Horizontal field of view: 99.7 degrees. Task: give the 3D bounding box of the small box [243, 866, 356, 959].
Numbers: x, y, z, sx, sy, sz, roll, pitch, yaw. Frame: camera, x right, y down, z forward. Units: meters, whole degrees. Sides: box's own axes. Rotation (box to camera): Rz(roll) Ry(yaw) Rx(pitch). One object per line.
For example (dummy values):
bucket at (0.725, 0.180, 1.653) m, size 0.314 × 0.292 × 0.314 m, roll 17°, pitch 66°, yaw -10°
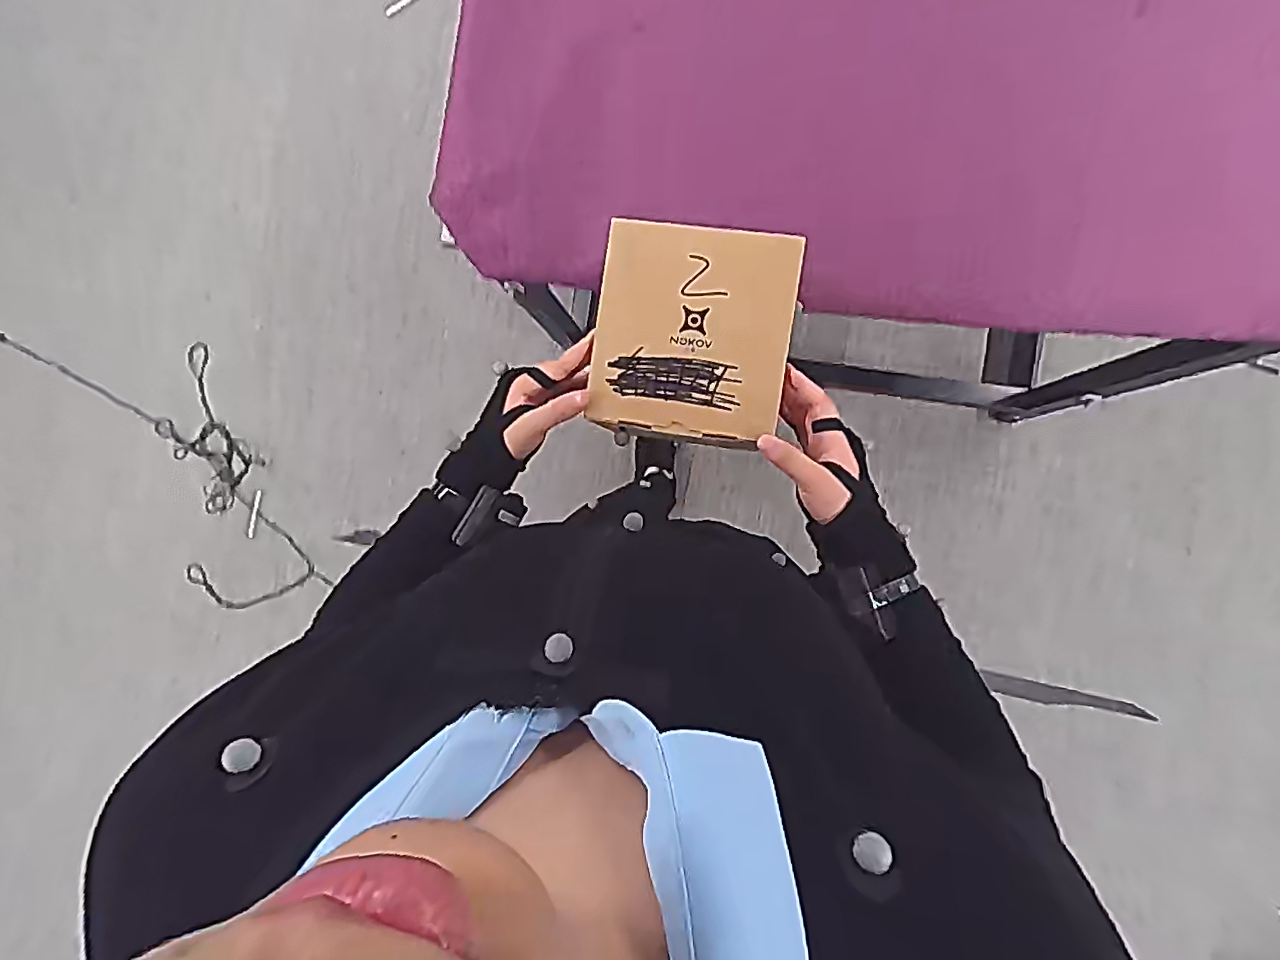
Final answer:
small box at (-0.918, 1.208, 1.476) m, size 0.179 × 0.176 × 0.168 m, roll 20°, pitch 89°, yaw 7°
